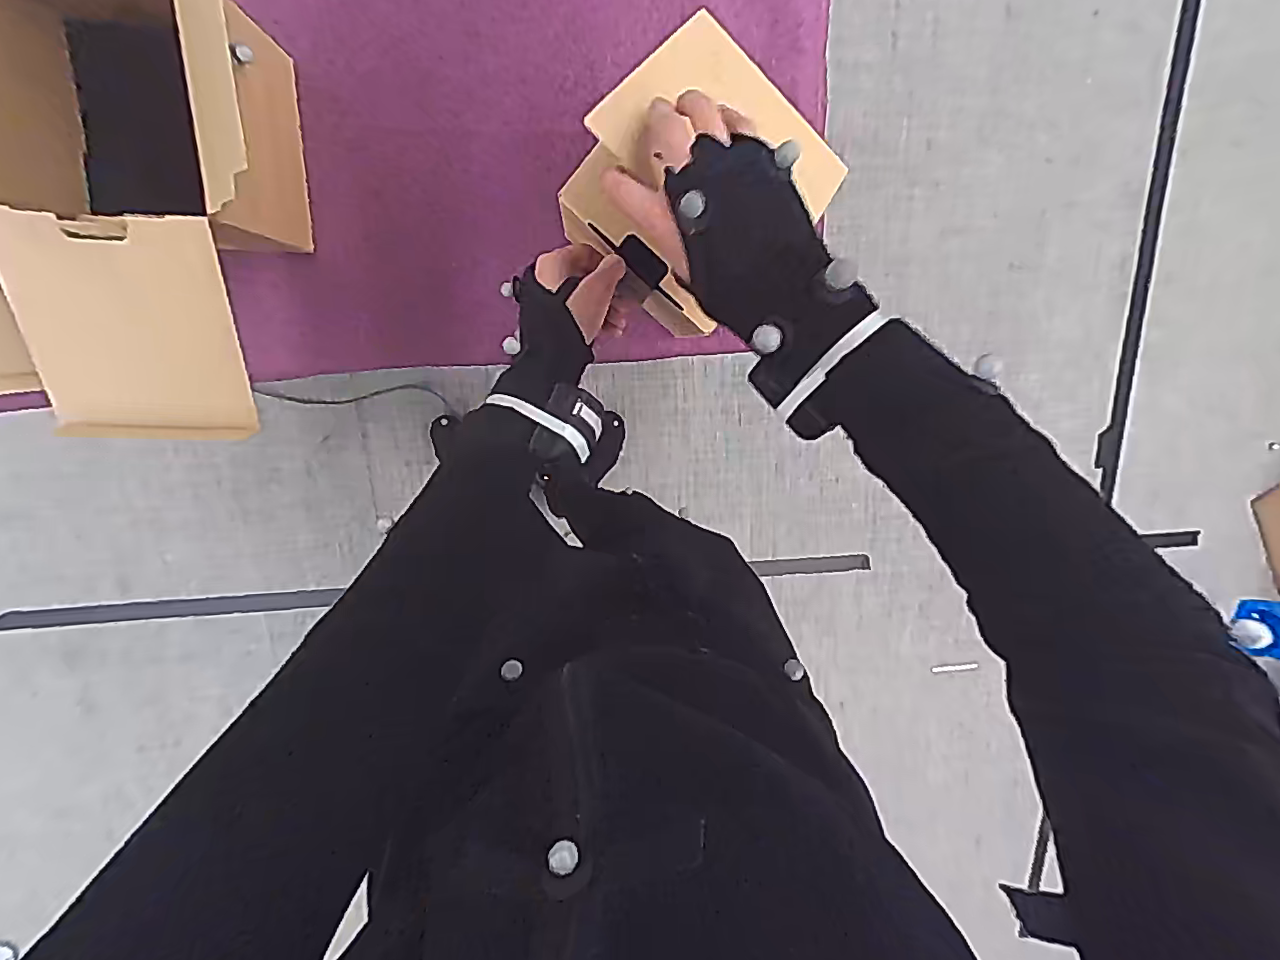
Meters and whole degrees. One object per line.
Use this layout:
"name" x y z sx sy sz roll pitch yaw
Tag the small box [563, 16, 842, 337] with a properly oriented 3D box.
"small box" 0.044 -0.257 0.511 0.168 0.176 0.179 40 98 -13
